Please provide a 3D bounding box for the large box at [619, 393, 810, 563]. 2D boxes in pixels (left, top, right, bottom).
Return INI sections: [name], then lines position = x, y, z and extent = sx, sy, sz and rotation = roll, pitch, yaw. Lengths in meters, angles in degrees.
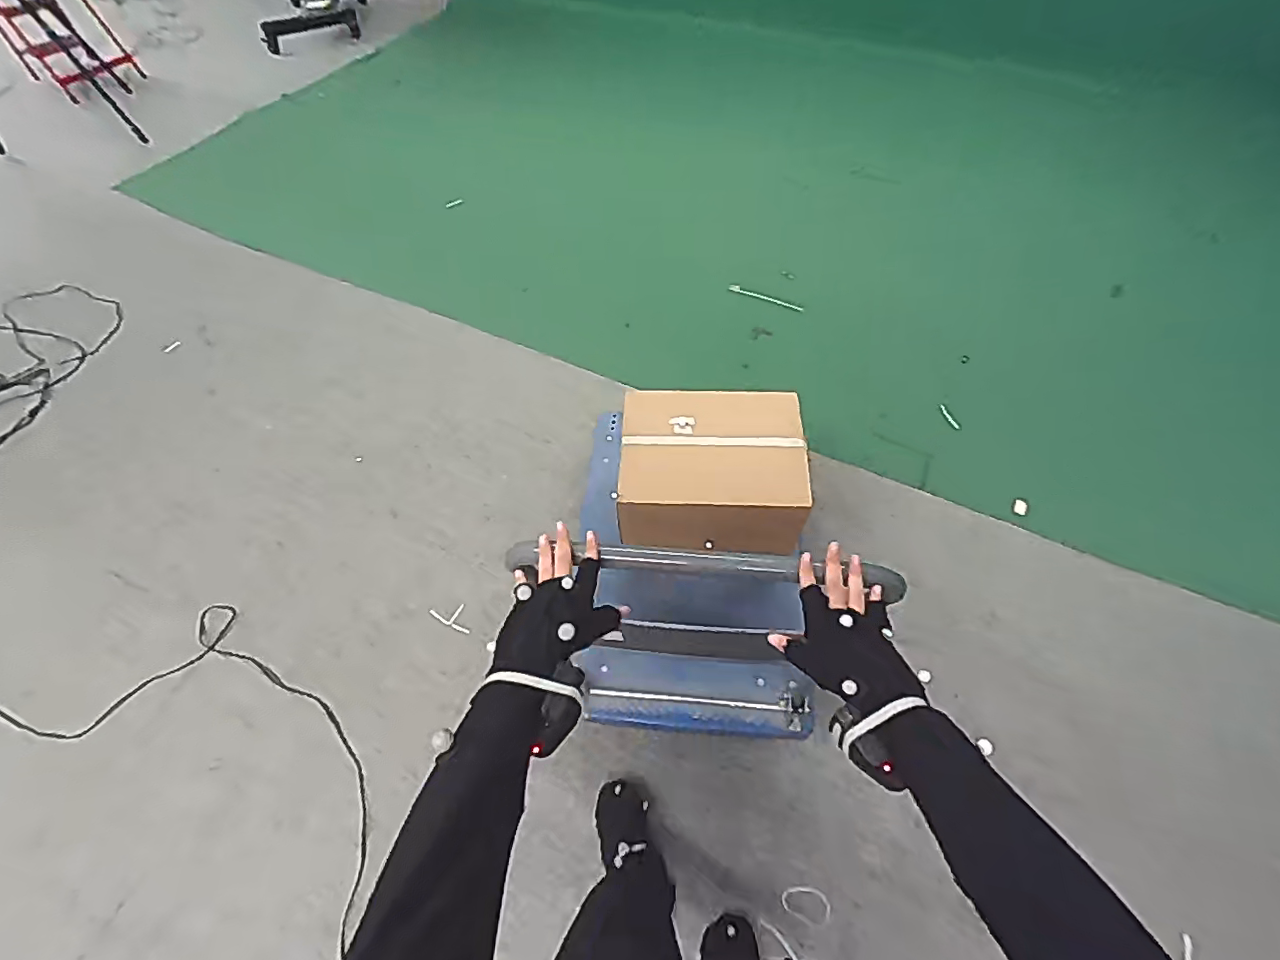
[large box]
position = 0.167, 0.005, 1.328
extent = 0.408, 0.320, 0.320
rotation = 0, 56, 4
